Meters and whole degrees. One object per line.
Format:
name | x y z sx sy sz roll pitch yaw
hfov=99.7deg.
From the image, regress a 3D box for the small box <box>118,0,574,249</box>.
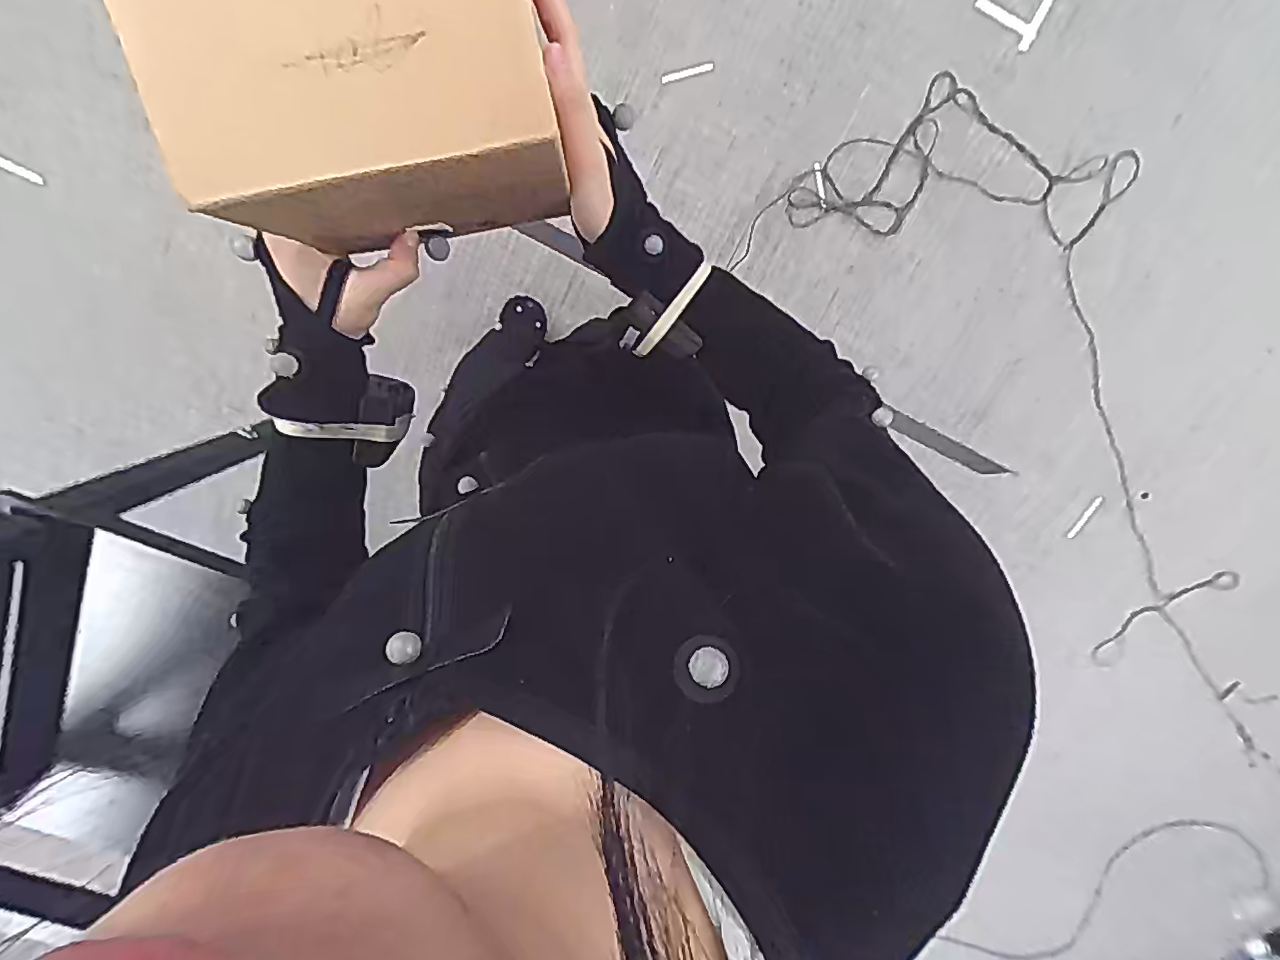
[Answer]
small box | -0.133 -0.239 0.289 0.168 0.176 0.179 -11 106 -1
